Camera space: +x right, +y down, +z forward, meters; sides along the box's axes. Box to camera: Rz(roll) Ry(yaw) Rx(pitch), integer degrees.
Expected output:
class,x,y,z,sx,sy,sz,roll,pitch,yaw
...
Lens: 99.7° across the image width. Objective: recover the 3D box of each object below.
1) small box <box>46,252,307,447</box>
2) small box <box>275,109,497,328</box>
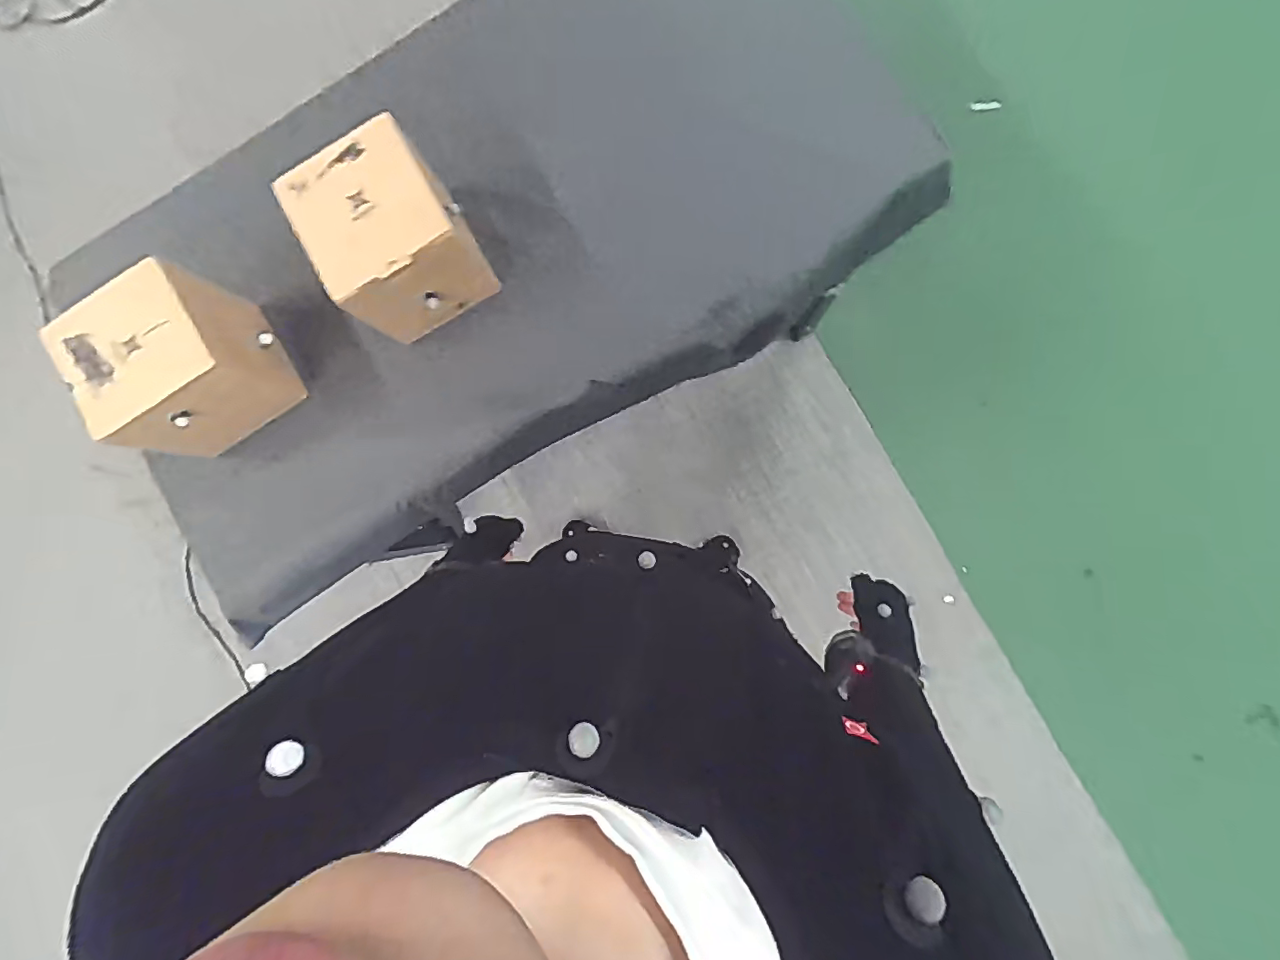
class,x,y,z,sx,sy,sz,roll,pitch,yaw
small box,-0.606,-0.160,0.730,0.179,0.176,0.168,-33,85,2
small box,-0.317,-0.321,0.713,0.168,0.176,0.179,-30,86,3
